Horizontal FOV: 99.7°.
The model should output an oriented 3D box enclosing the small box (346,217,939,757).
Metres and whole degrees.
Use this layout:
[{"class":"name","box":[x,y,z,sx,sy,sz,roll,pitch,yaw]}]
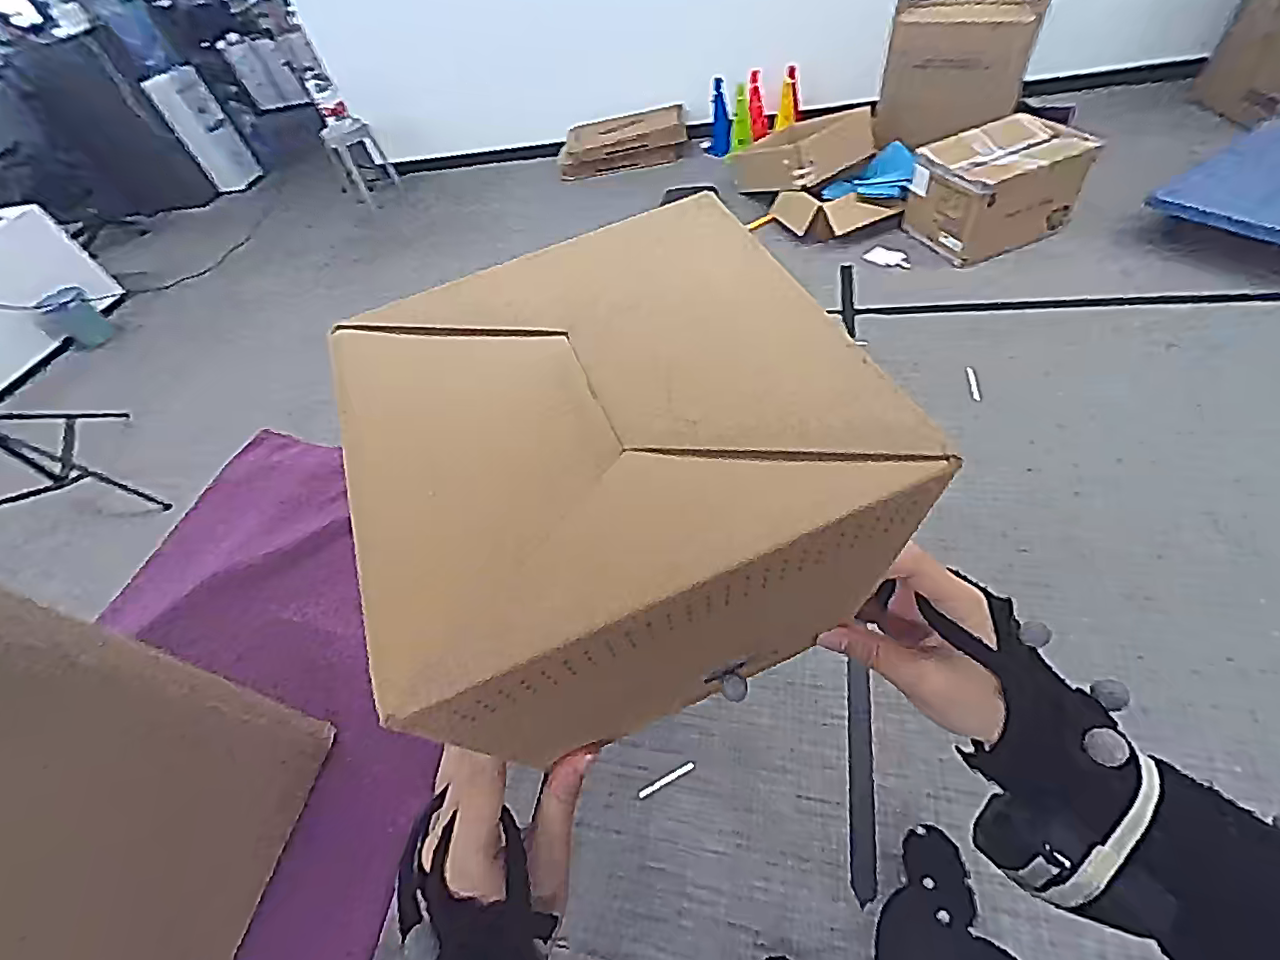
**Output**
[{"class":"small box","box":[-0.002,0.007,0.257,0.179,0.176,0.168,-22,58,-7]}]
